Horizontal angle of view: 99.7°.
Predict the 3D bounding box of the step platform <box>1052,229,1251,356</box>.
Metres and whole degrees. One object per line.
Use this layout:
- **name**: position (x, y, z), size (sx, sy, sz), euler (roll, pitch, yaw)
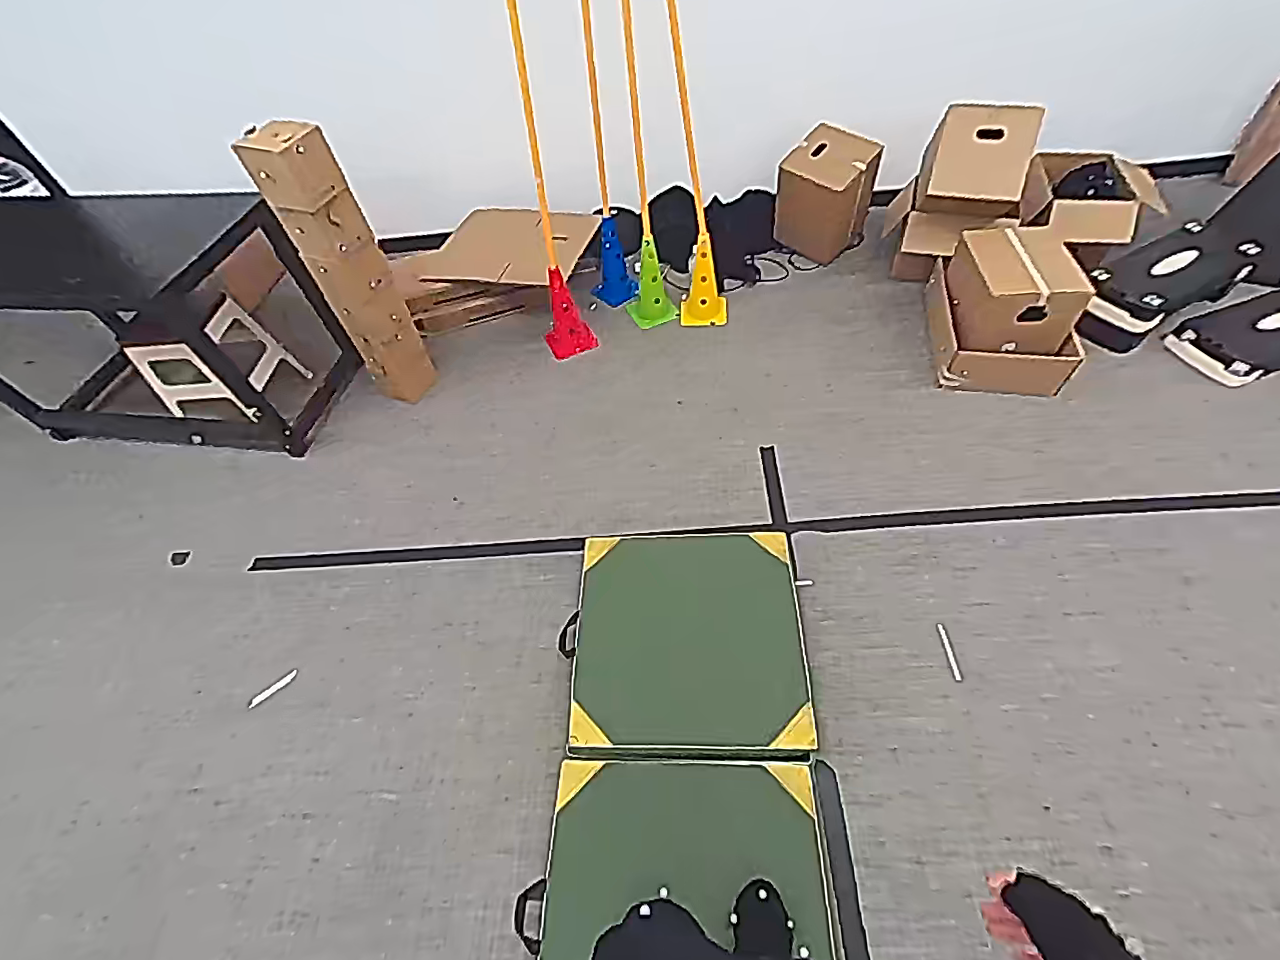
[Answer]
- **step platform**: position (1.997, -0.744, 2.118), size (0.684, 0.204, 0.286), euler (-27, 55, -13)
